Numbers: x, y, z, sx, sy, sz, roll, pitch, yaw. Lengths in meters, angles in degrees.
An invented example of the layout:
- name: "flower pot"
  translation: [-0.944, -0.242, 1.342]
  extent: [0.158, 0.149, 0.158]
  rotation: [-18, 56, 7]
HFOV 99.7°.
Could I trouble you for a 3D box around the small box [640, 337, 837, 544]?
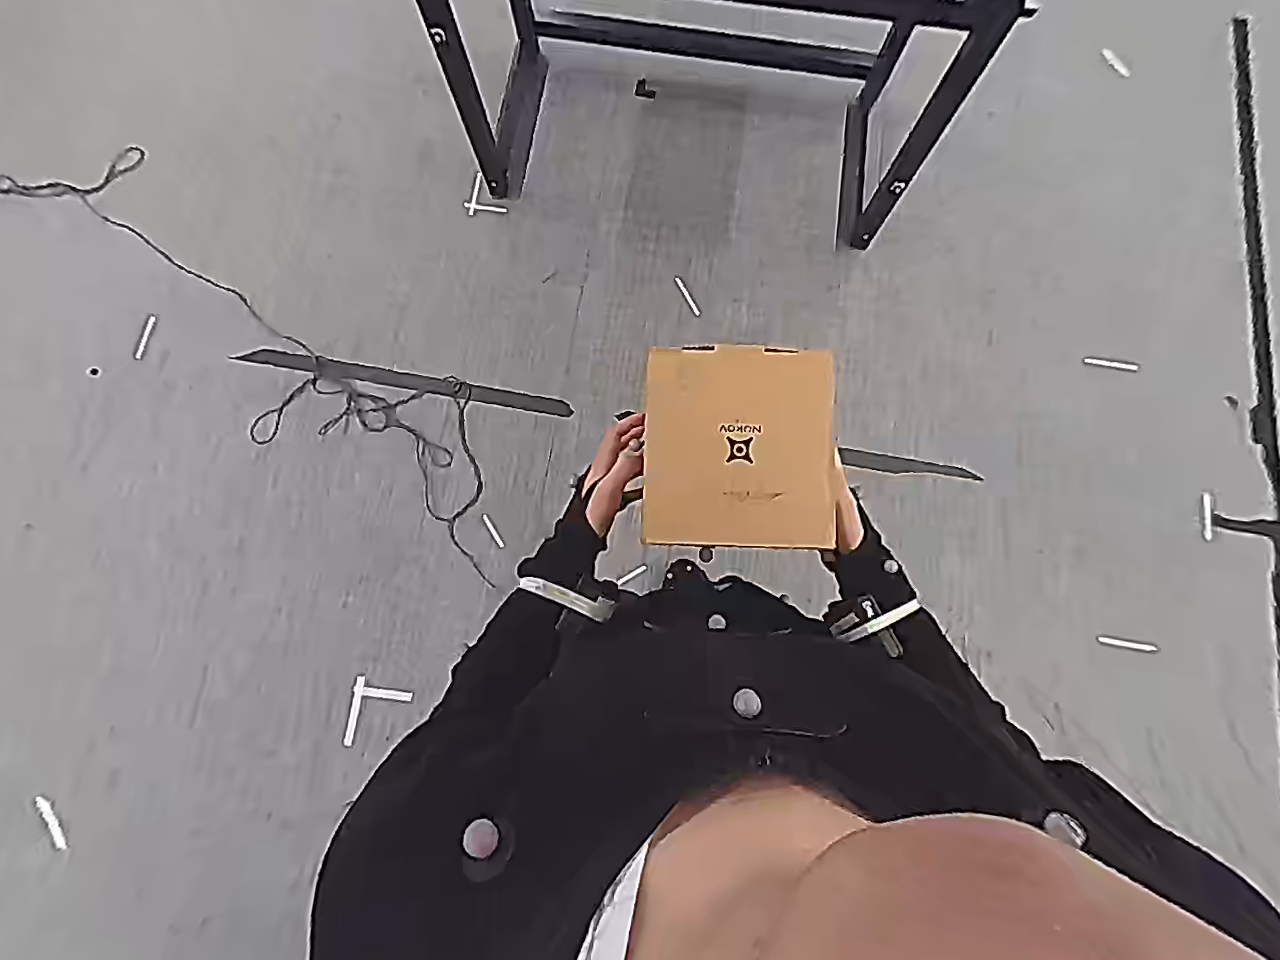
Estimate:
- name: "small box"
  translation: [0.086, -0.027, 0.543]
  extent: [0.168, 0.176, 0.179]
  rotation: [2, 84, 0]
